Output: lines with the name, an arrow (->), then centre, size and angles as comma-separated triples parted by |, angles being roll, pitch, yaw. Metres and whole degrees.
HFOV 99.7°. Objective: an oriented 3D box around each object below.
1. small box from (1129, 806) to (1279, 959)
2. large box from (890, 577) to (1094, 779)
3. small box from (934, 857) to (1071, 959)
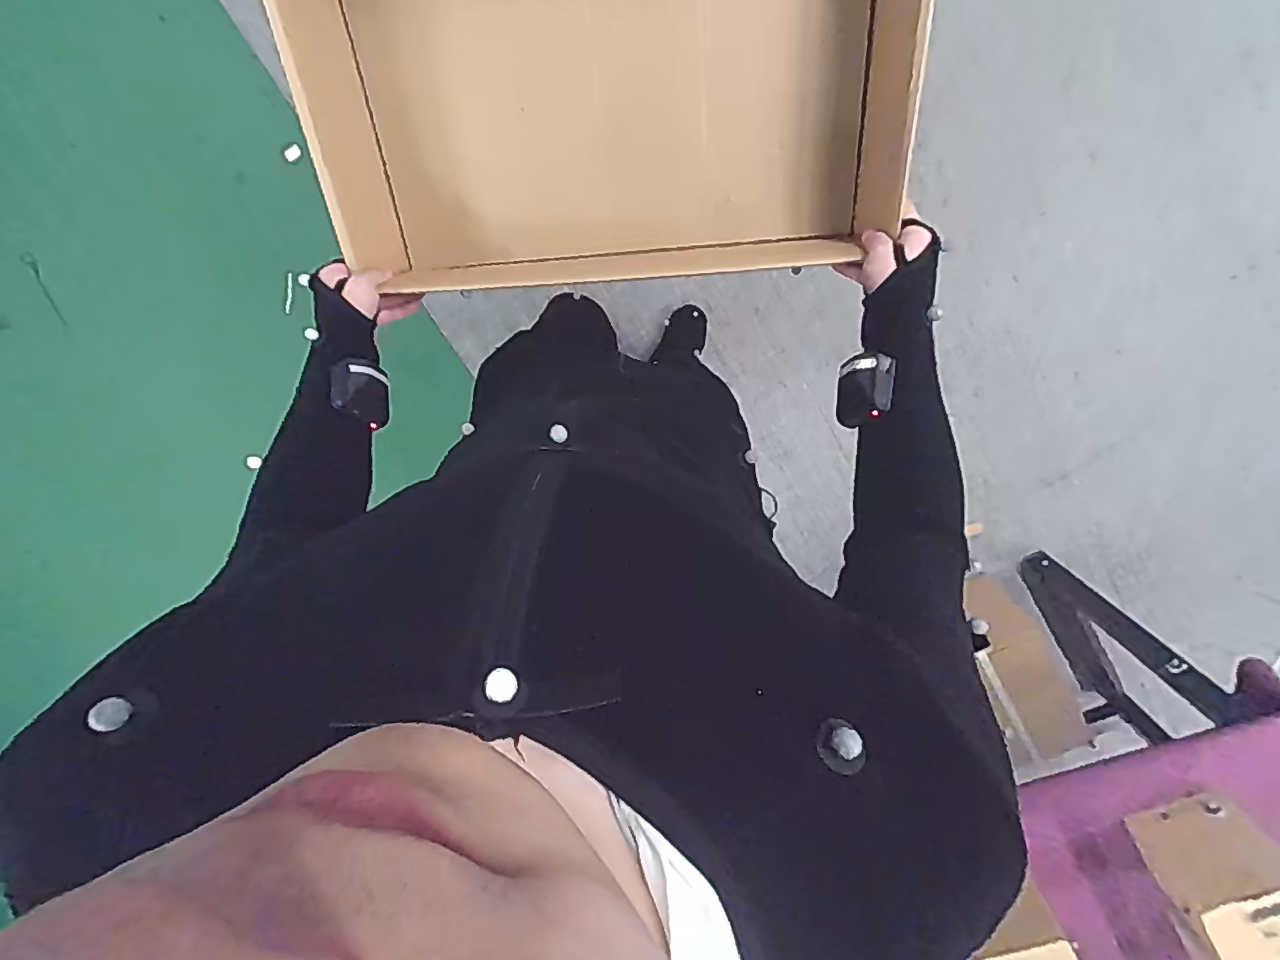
small box -> 1.005, 0.698, 0.930 | 0.168, 0.176, 0.179 | -30, 105, 16
large box -> 1.011, 0.571, 1.593 | 0.320, 0.320, 0.408 | -29, 105, 16
small box -> 0.700, 0.869, 1.029 | 0.168, 0.176, 0.179 | -28, 105, 14
